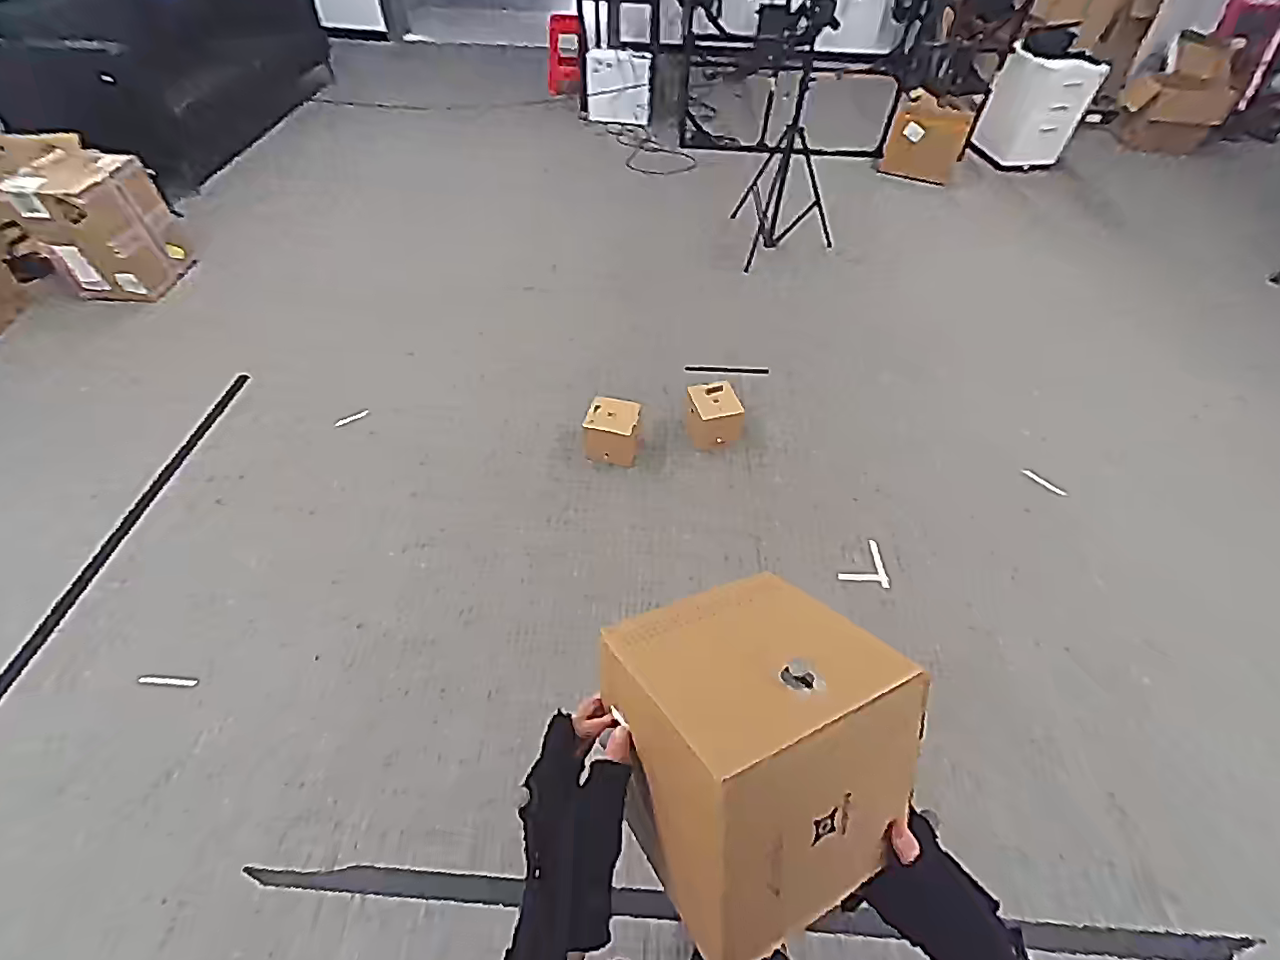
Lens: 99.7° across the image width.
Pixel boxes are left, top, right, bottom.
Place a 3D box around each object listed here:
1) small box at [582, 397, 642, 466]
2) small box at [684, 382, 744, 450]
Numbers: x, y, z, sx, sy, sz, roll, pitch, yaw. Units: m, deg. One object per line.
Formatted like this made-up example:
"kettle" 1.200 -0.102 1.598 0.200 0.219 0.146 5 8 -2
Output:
"small box" -0.100 -0.174 1.971 0.179 0.176 0.168 13 51 9
"small box" 0.270 -0.240 2.034 0.168 0.176 0.179 -12 53 -11
